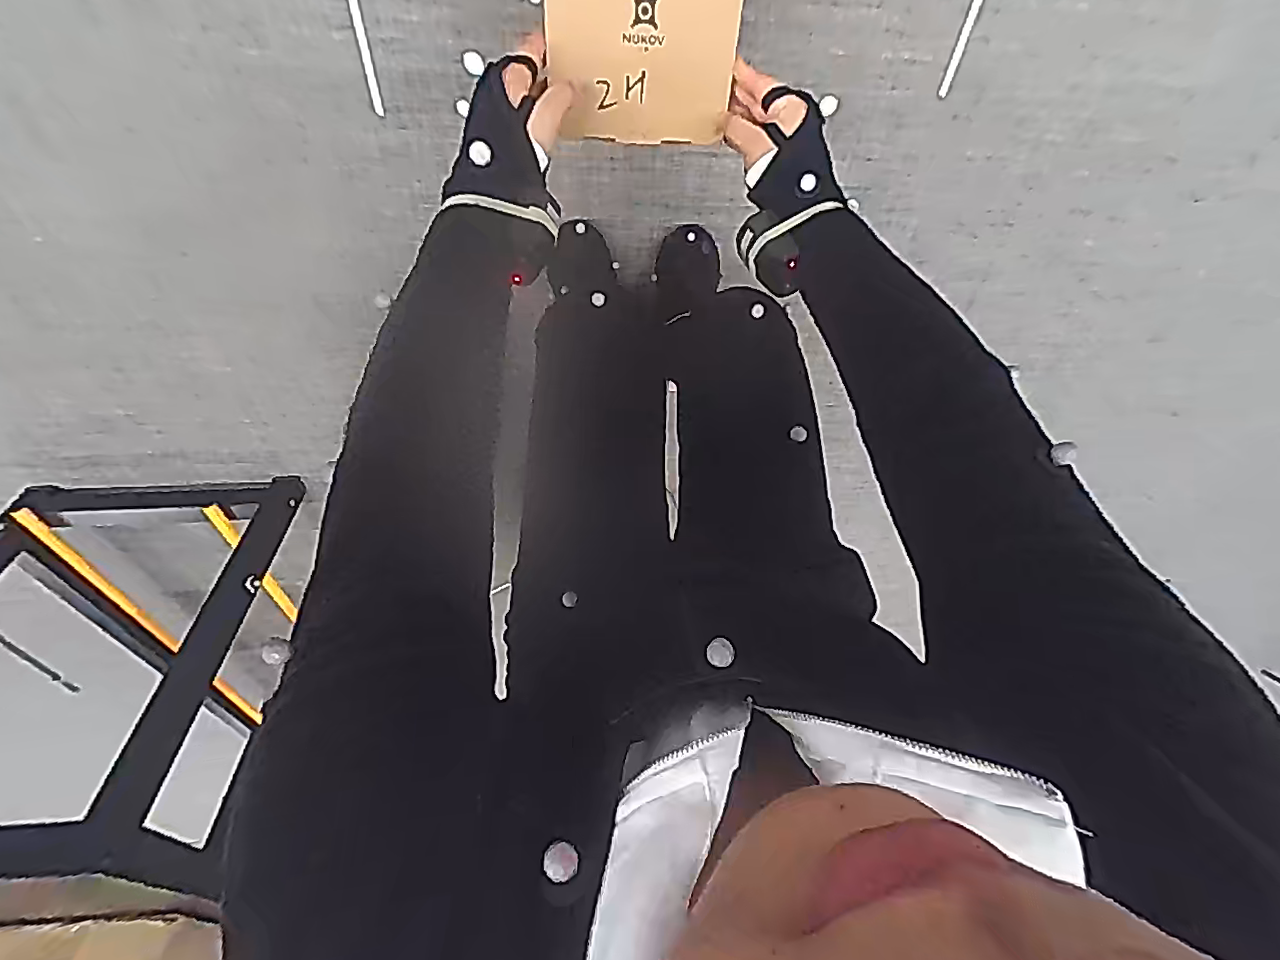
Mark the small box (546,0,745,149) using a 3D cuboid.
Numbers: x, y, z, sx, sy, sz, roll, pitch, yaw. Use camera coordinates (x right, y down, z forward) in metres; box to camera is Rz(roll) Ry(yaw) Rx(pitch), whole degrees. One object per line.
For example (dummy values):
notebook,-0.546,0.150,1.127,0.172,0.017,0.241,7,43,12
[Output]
small box,-0.002,-0.435,0.507,0.168,0.176,0.179,0,135,-5
